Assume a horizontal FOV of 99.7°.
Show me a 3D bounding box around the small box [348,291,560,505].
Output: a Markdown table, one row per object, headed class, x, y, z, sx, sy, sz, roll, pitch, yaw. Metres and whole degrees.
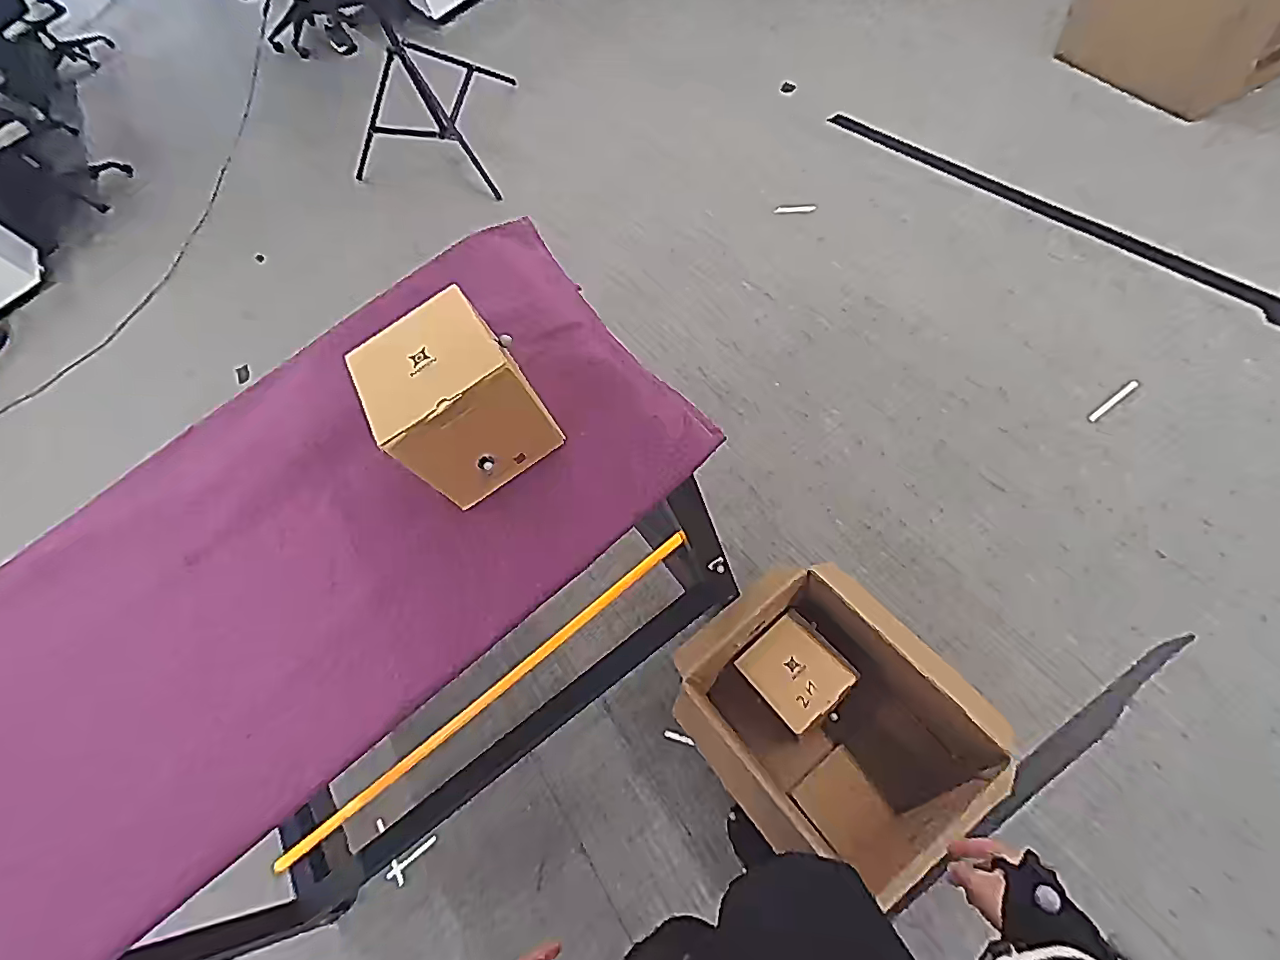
| class | x | y | z | sx | sy | sz | roll | pitch | yaw |
| --- | --- | --- | --- | --- | --- | --- | --- | --- | --- |
| small box | -0.232 | -0.098 | 0.697 | 0.168 | 0.176 | 0.179 | -36 | 59 | -2 |
